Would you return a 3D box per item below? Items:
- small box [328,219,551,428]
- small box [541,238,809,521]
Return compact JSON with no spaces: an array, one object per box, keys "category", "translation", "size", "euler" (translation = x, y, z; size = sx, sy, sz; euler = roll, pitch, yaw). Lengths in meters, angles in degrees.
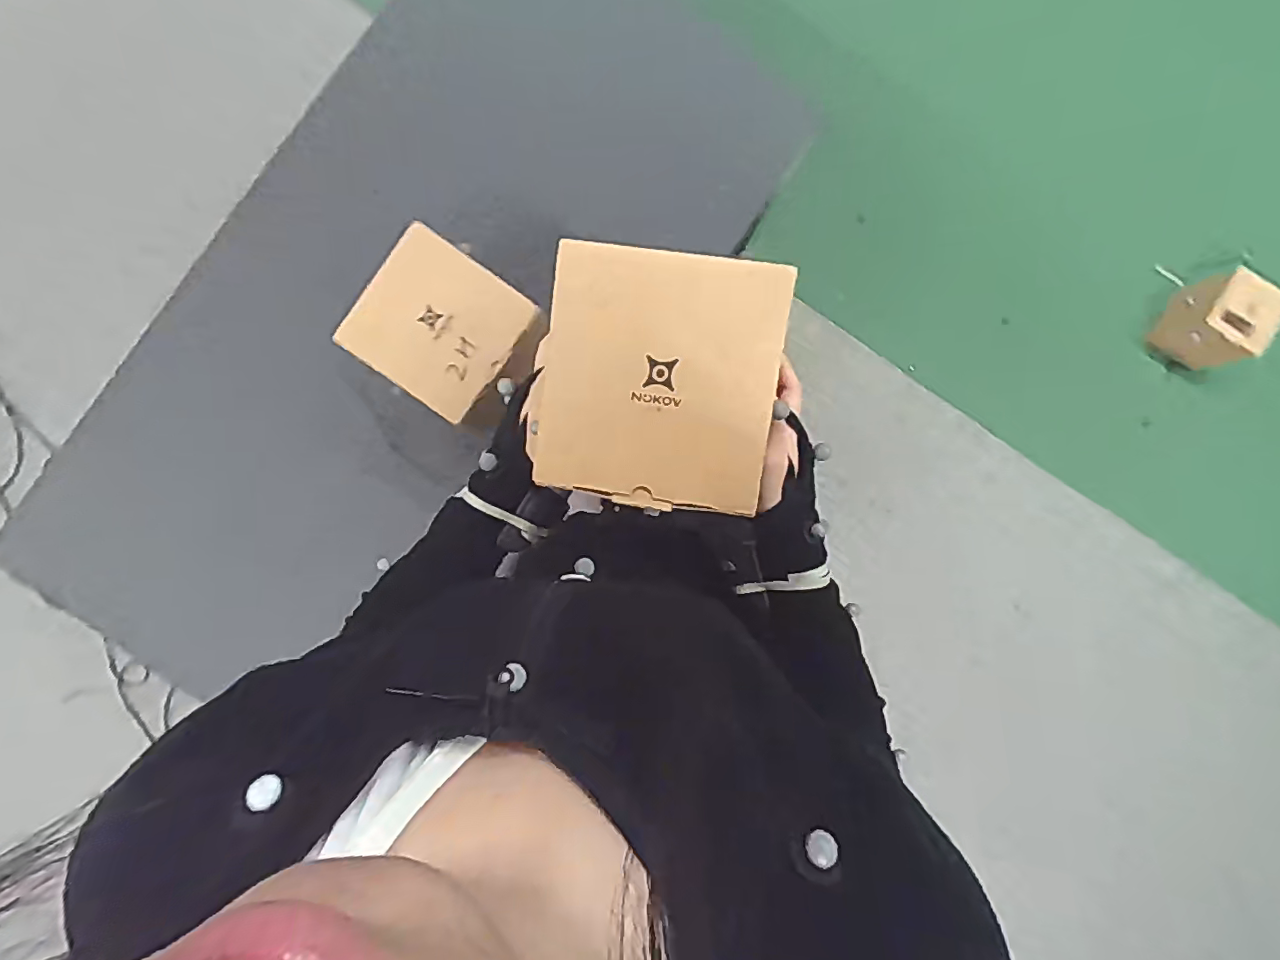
[{"category":"small box","translation":[-0.235,-0.179,0.684],"size":[0.179,0.176,0.168],"euler":[35,90,-2]},{"category":"small box","translation":[0.026,-0.079,0.457],"size":[0.168,0.176,0.179],"euler":[10,99,3]}]
